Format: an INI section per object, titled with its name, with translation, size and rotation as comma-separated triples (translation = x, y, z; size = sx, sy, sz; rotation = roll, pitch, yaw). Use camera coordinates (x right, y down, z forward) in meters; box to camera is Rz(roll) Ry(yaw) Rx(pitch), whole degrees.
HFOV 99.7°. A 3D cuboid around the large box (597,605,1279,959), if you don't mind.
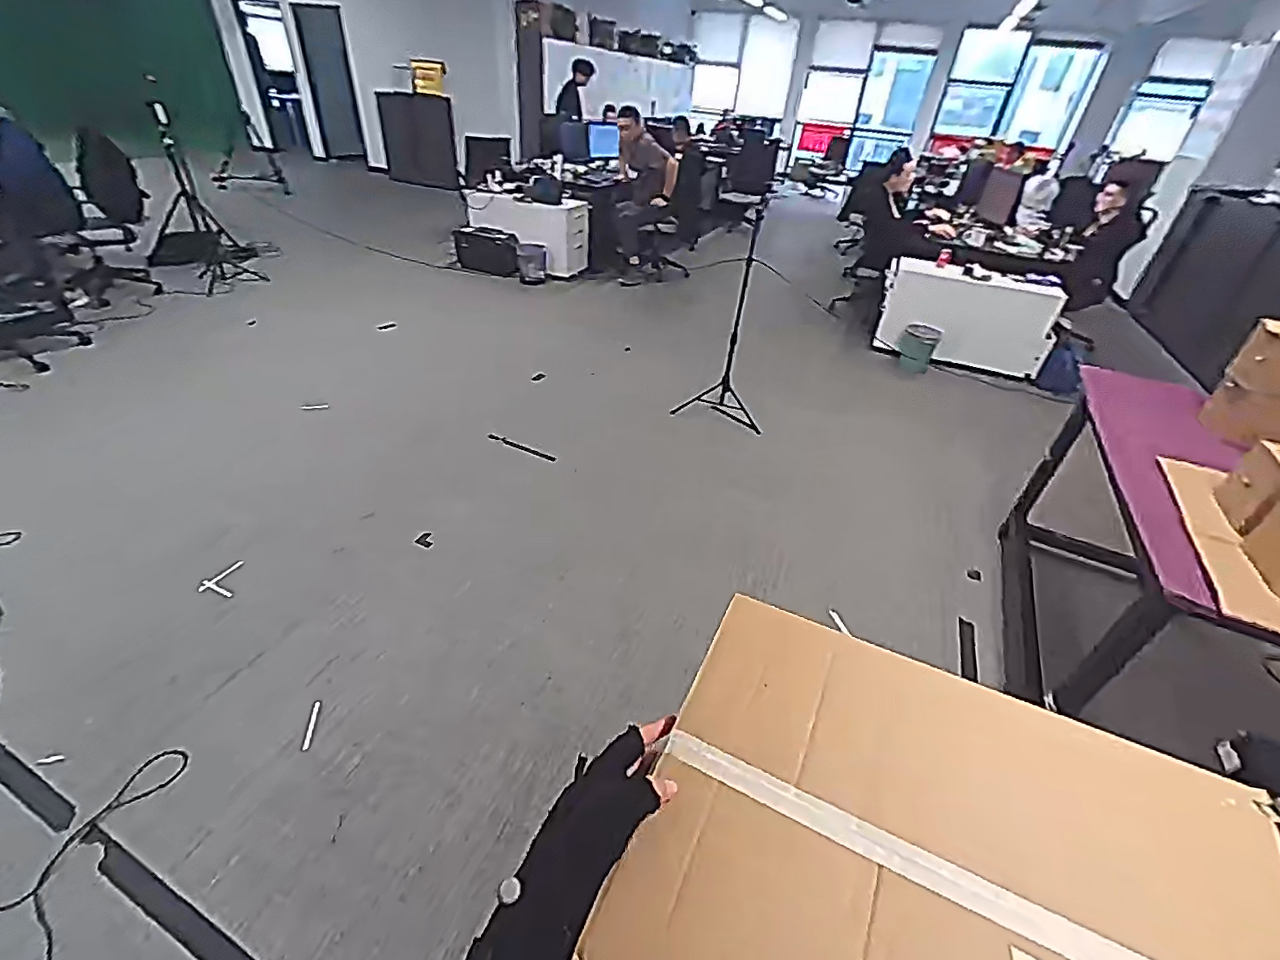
[large box]
translation = 0.219, 0.381, 0.488
size = 0.408, 0.320, 0.320
rotation = 18, 50, 21
